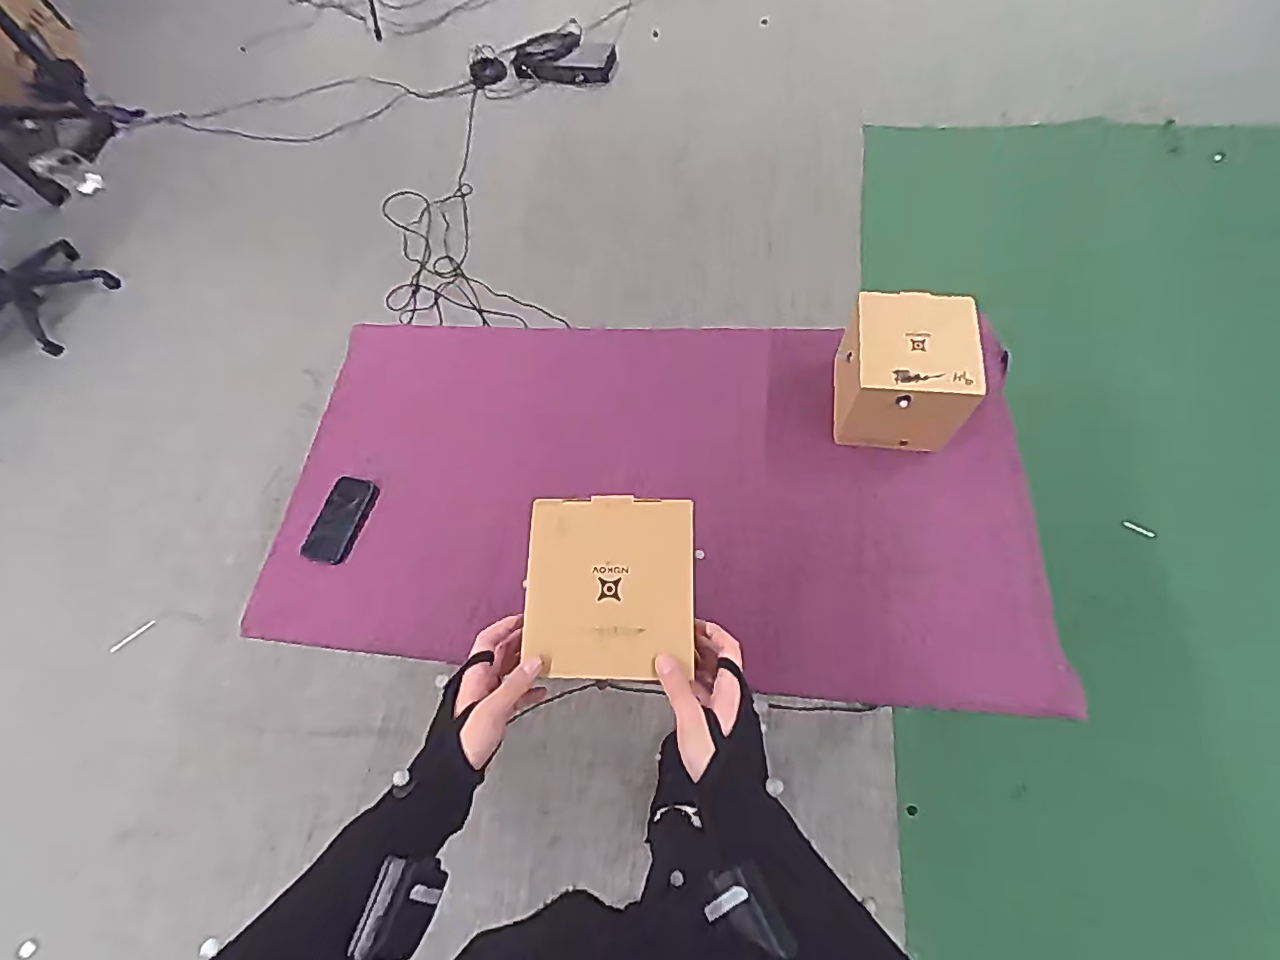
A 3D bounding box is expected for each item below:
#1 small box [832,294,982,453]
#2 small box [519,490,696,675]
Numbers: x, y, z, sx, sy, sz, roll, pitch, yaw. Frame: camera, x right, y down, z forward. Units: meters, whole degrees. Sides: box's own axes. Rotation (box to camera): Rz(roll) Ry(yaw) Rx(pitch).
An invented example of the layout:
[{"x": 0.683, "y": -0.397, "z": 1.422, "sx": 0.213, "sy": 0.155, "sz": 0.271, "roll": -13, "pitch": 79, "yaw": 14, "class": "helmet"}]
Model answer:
[{"x": 0.402, "y": -0.163, "z": 0.846, "sx": 0.168, "sy": 0.176, "sz": 0.179, "roll": 5, "pitch": 65, "yaw": 9, "class": "small box"}, {"x": -0.026, "y": 0.119, "z": 0.601, "sx": 0.168, "sy": 0.176, "sz": 0.179, "roll": 1, "pitch": 73, "yaw": 3, "class": "small box"}]
